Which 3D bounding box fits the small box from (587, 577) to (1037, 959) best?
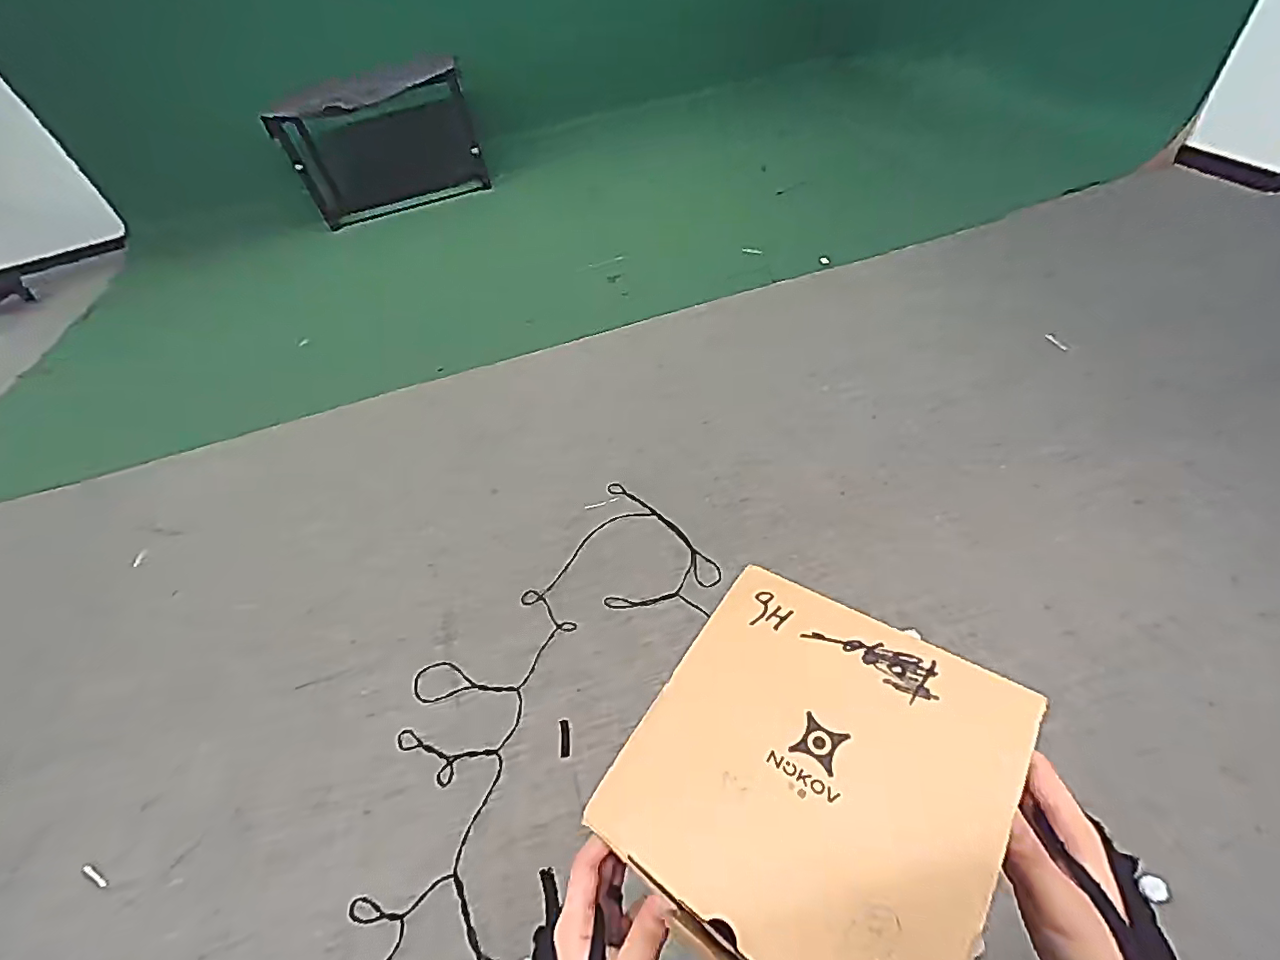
[{"bbox_3d":[0.101,0.199,0.329,0.168,0.176,0.179,23,58,32],"label":"small box"}]
